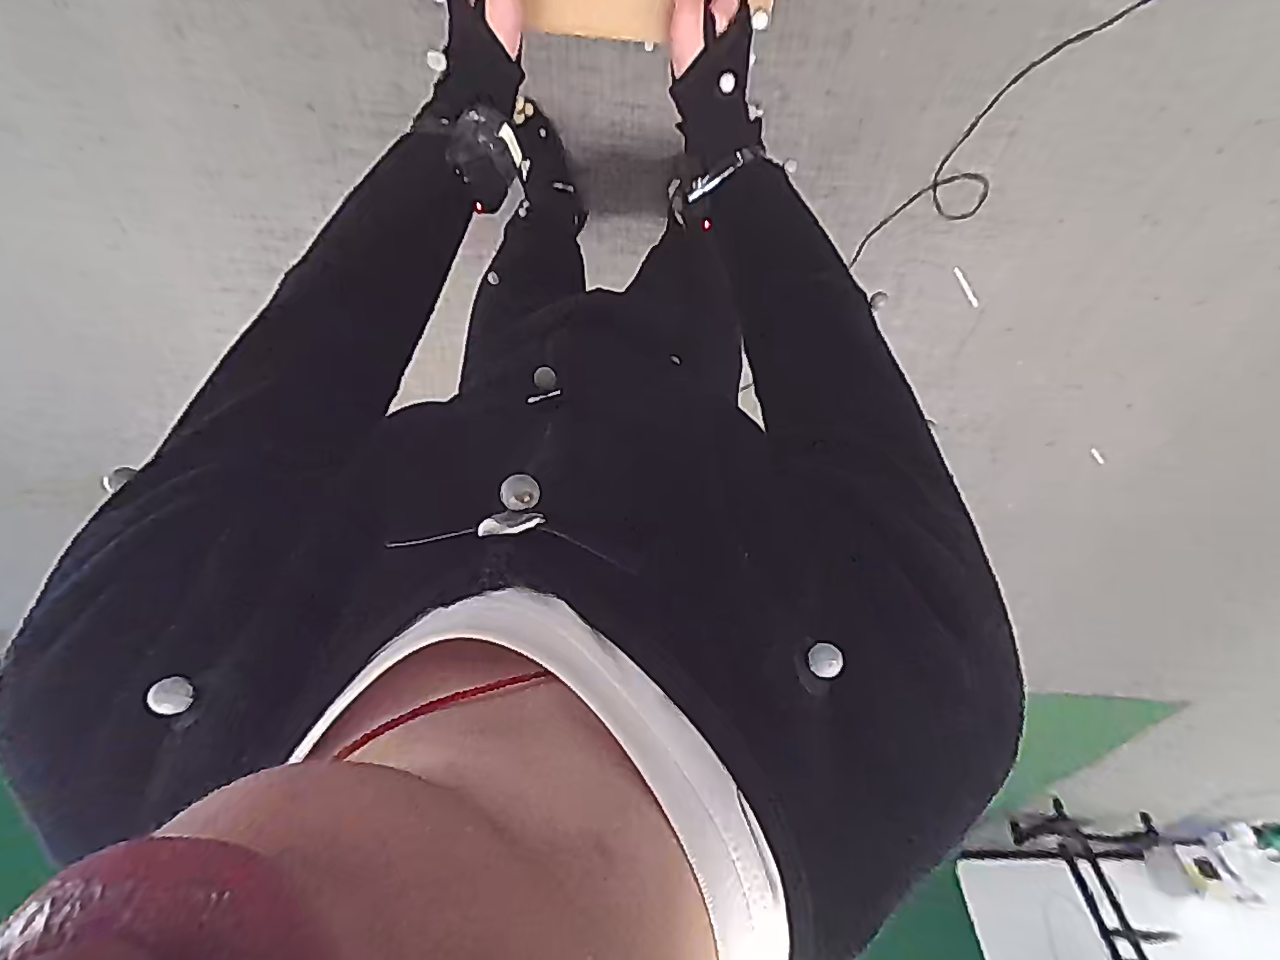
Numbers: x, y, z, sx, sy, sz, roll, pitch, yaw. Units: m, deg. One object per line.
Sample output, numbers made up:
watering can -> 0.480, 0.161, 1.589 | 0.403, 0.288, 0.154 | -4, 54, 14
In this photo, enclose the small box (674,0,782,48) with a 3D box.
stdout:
small box -> 0.158, -0.876, 0.942 | 0.179, 0.176, 0.168 | 7, 134, -2
